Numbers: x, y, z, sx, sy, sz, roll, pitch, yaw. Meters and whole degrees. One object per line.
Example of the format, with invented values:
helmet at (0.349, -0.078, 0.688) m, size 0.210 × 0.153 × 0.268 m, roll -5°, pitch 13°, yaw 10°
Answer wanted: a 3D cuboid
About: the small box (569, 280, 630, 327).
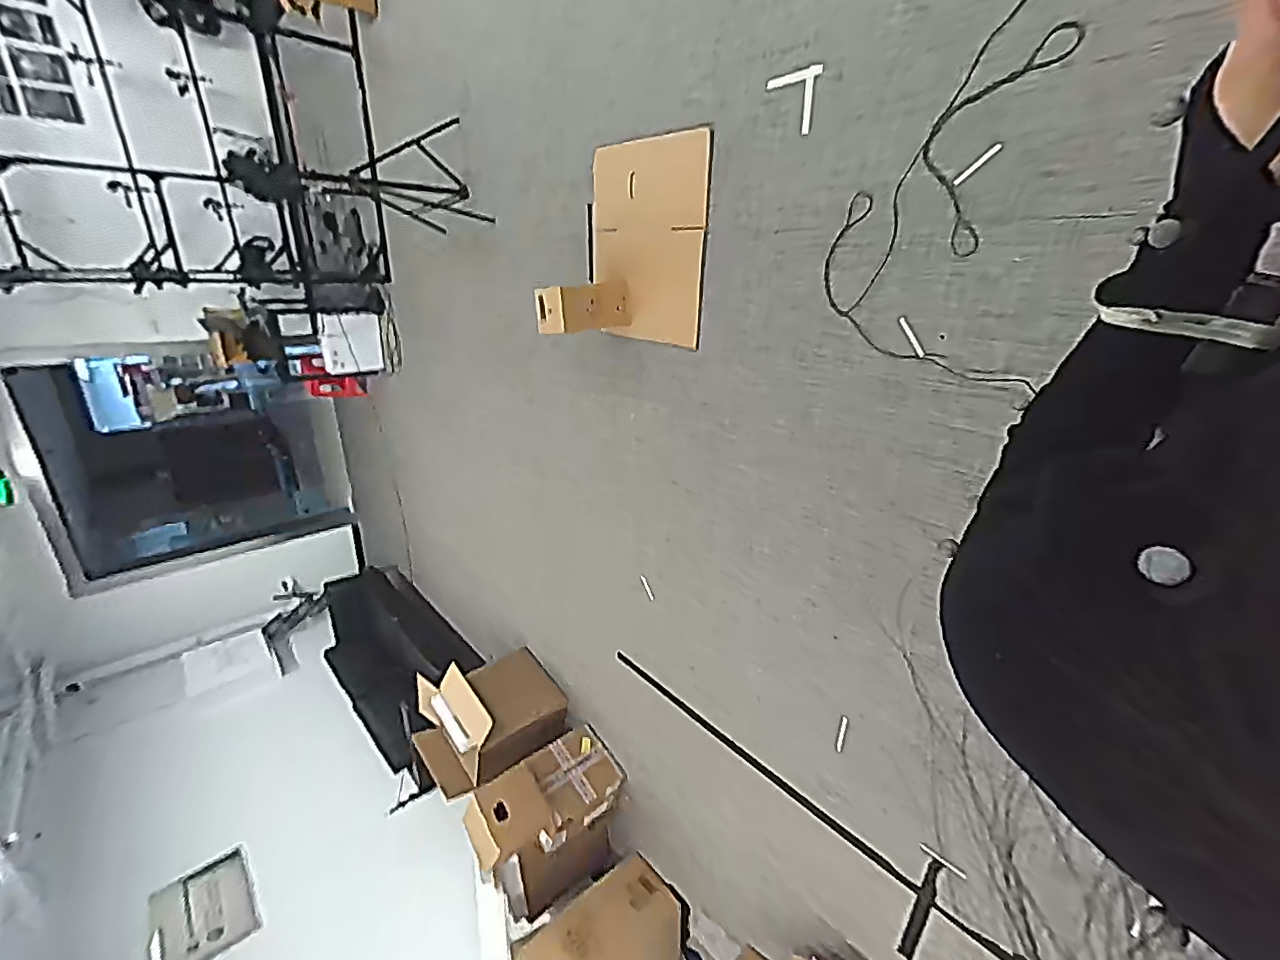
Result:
small box at (-0.161, -0.710, 2.177) m, size 0.179 × 0.176 × 0.168 m, roll 12°, pitch 113°, yaw 47°
